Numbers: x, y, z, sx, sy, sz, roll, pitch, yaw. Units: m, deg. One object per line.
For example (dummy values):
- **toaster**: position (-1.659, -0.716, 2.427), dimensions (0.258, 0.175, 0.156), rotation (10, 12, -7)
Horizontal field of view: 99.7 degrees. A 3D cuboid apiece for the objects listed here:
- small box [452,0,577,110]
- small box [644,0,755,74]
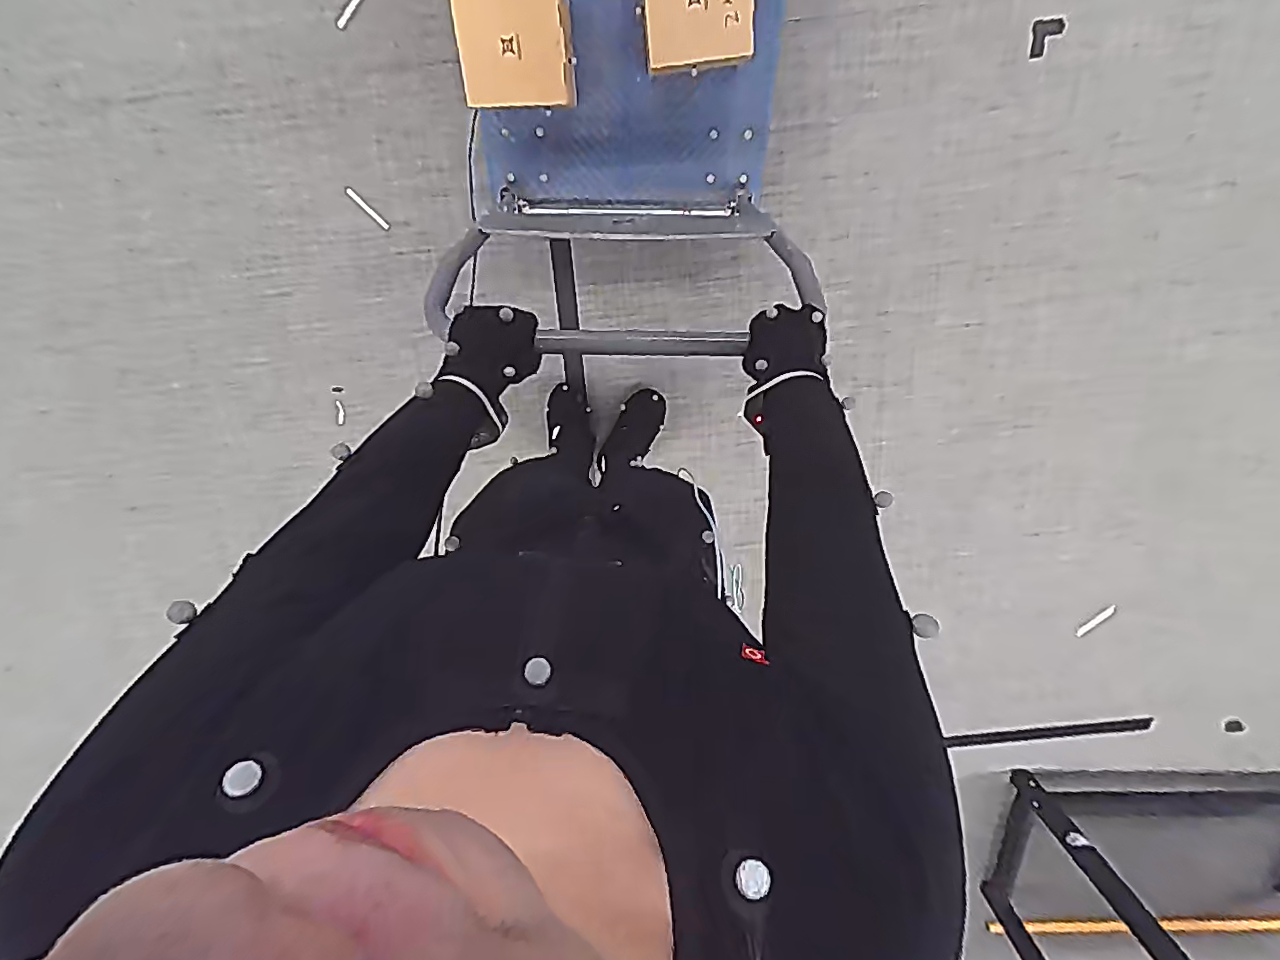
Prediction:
- **small box**: position (-0.211, -0.758, 0.954), dimensions (0.179, 0.176, 0.168), rotation (-2, 123, 0)
- **small box**: position (0.096, -0.807, 0.920), dimensions (0.179, 0.176, 0.168), rotation (-5, 123, 3)
